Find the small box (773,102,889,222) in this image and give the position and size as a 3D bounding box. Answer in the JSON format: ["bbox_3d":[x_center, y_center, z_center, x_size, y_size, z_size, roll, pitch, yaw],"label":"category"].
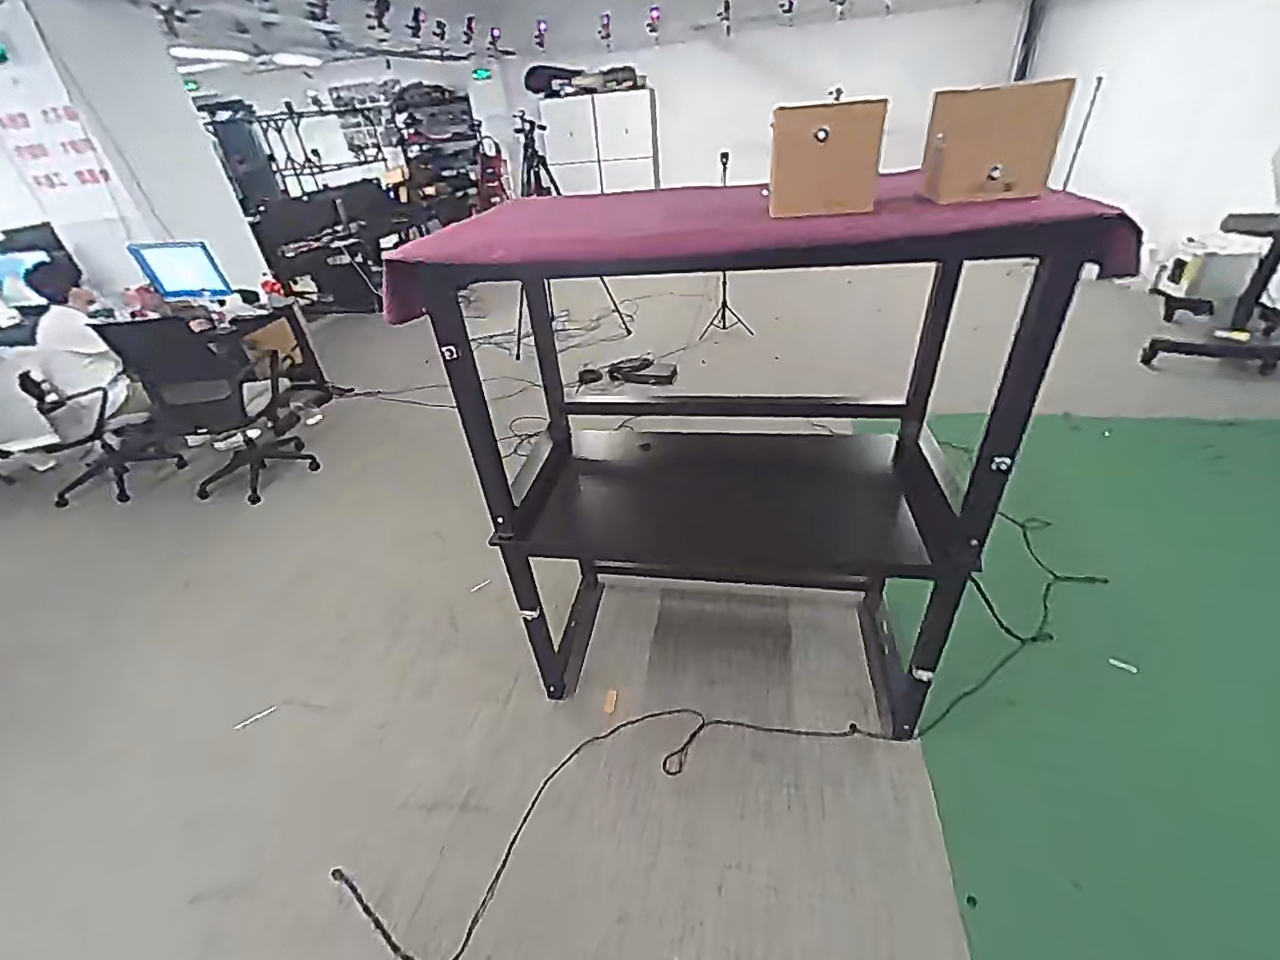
[{"bbox_3d":[0.332,-0.572,0.979,0.179,0.176,0.168,2,34,11],"label":"small box"}]
